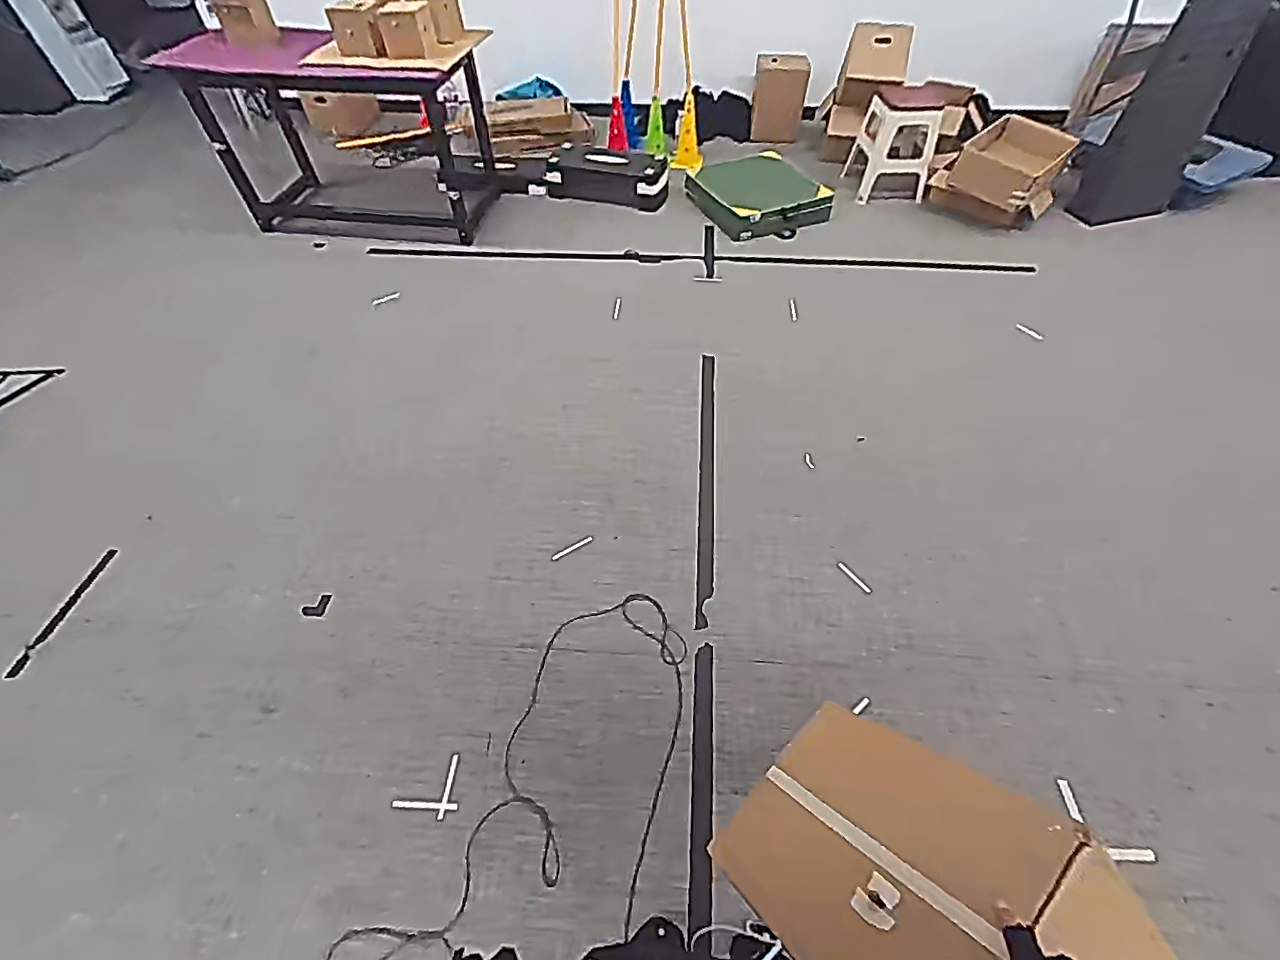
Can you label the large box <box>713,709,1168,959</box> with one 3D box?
[{"bbox_3d":[0.380,0.592,0.731,0.320,0.408,0.320,-41,102,-18],"label":"large box"}]
